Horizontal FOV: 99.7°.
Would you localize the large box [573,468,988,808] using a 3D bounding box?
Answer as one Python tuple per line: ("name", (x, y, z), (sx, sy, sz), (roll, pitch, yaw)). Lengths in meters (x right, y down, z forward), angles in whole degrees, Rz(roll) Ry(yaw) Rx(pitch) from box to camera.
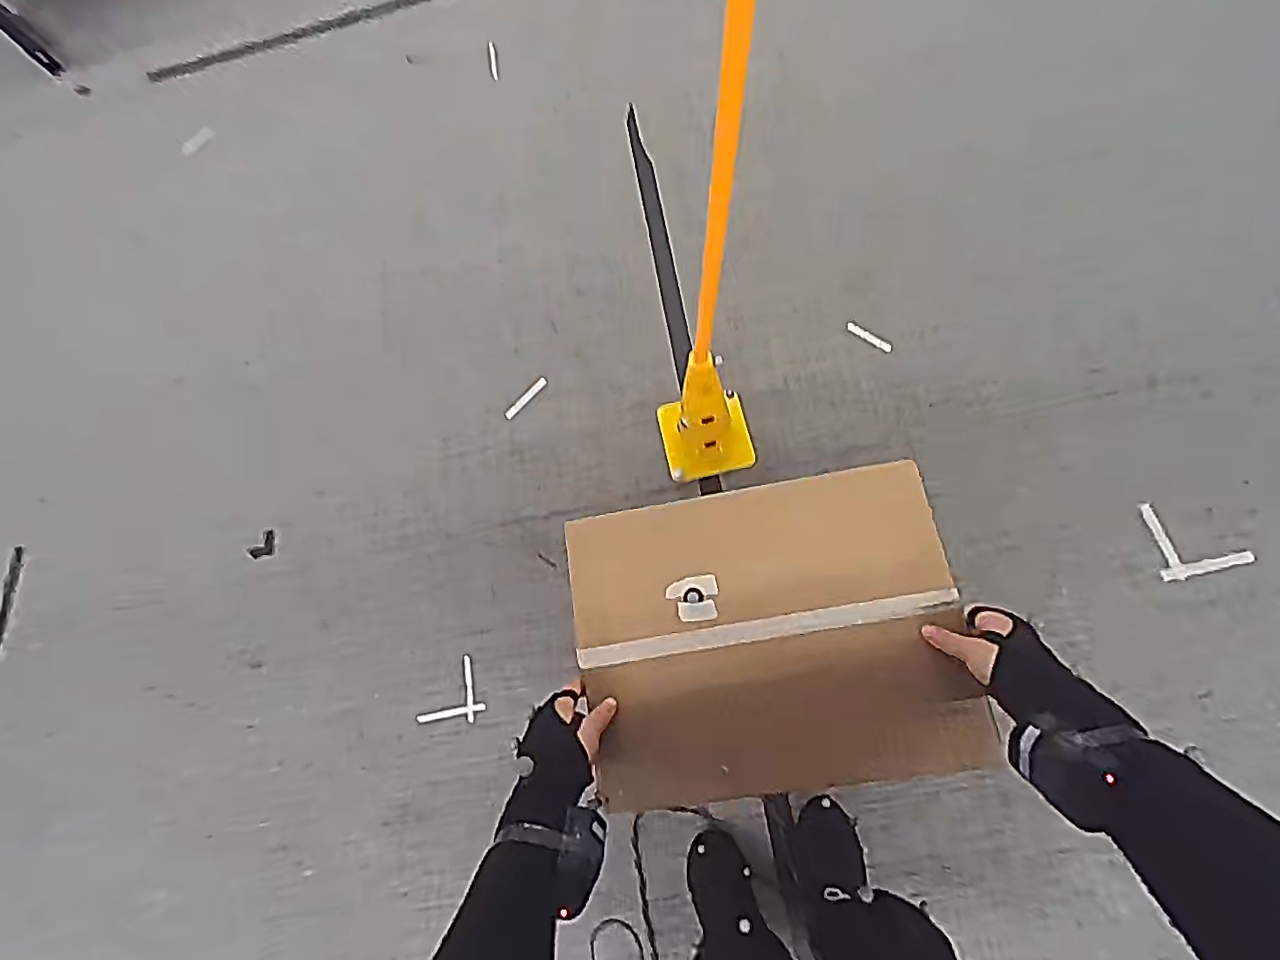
("large box", (0.160, 0.206, 0.746), (0.408, 0.320, 0.320), (-12, 73, 7))
